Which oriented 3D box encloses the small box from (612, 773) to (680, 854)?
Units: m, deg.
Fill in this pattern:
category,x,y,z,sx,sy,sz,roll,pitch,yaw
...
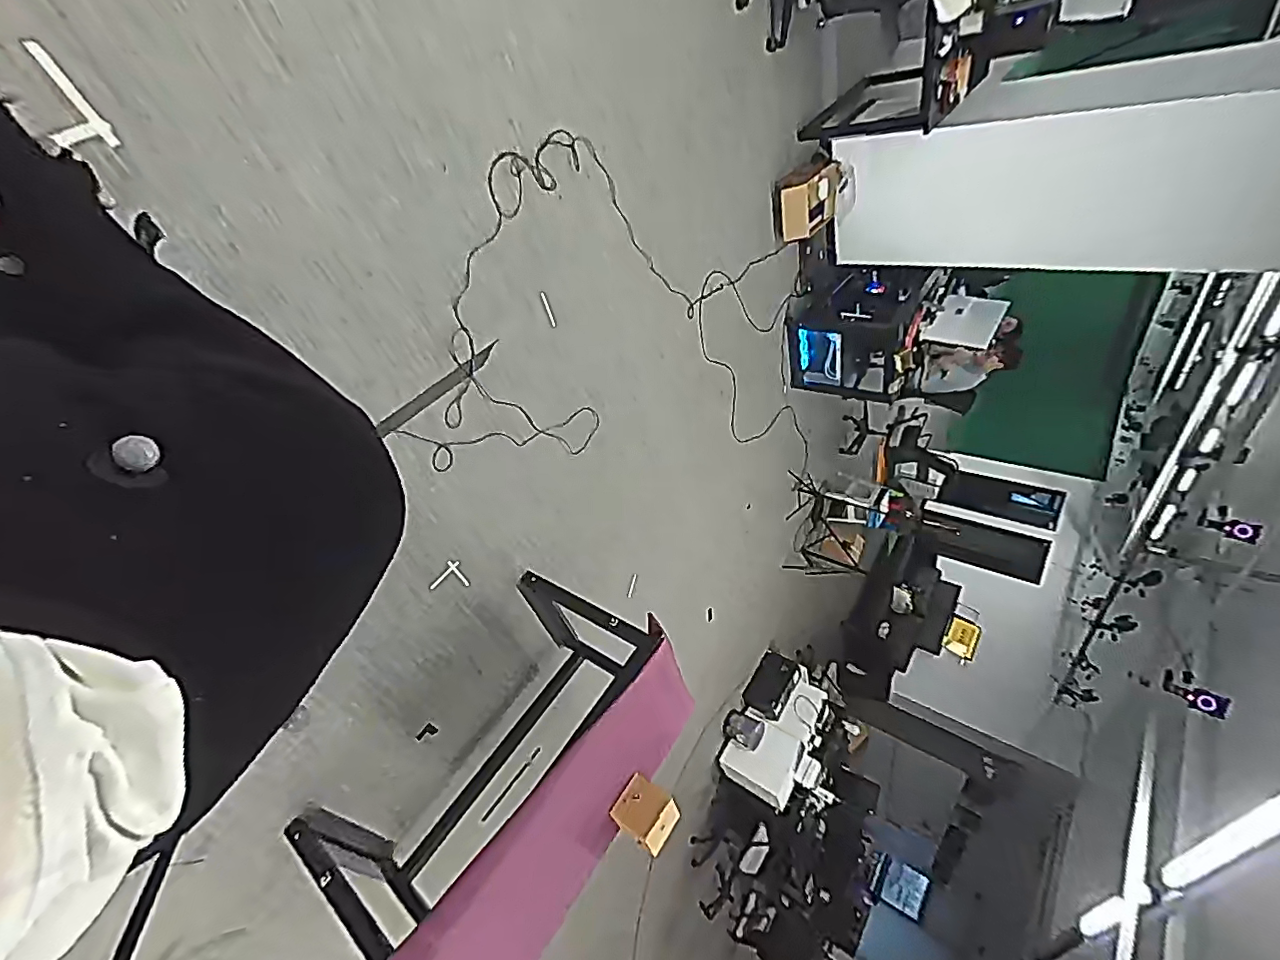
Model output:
category,x,y,z,sx,sy,sz,roll,pitch,yaw
small box,0.023,1.227,1.998,0.168,0.176,0.179,-46,137,-31
